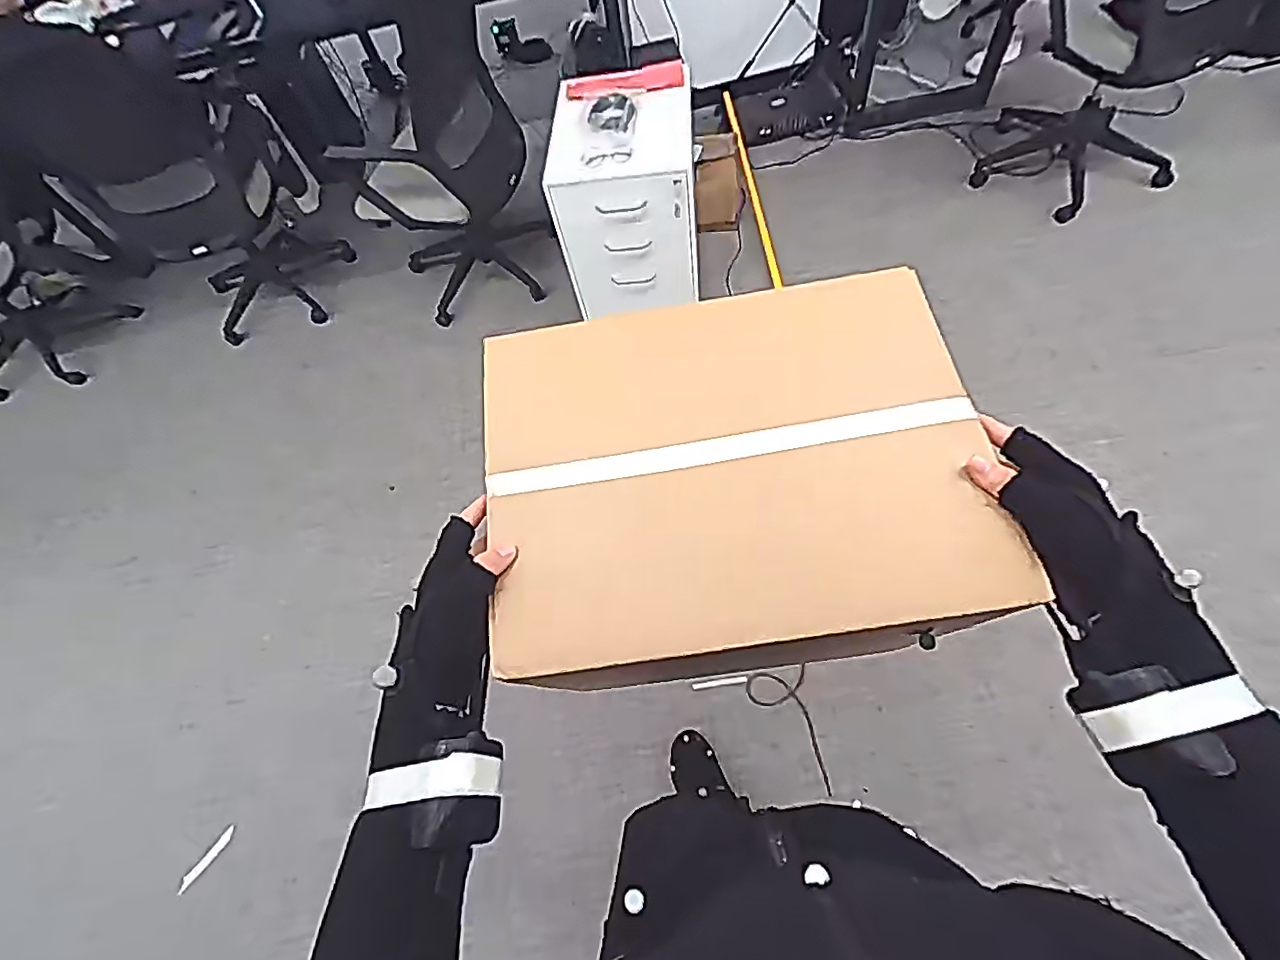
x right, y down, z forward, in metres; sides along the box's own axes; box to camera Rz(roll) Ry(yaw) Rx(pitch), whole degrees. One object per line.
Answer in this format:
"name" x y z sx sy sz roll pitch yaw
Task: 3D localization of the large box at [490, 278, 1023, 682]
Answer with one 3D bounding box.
"large box" 0.085 0.033 0.597 0.408 0.320 0.320 -8 66 2
